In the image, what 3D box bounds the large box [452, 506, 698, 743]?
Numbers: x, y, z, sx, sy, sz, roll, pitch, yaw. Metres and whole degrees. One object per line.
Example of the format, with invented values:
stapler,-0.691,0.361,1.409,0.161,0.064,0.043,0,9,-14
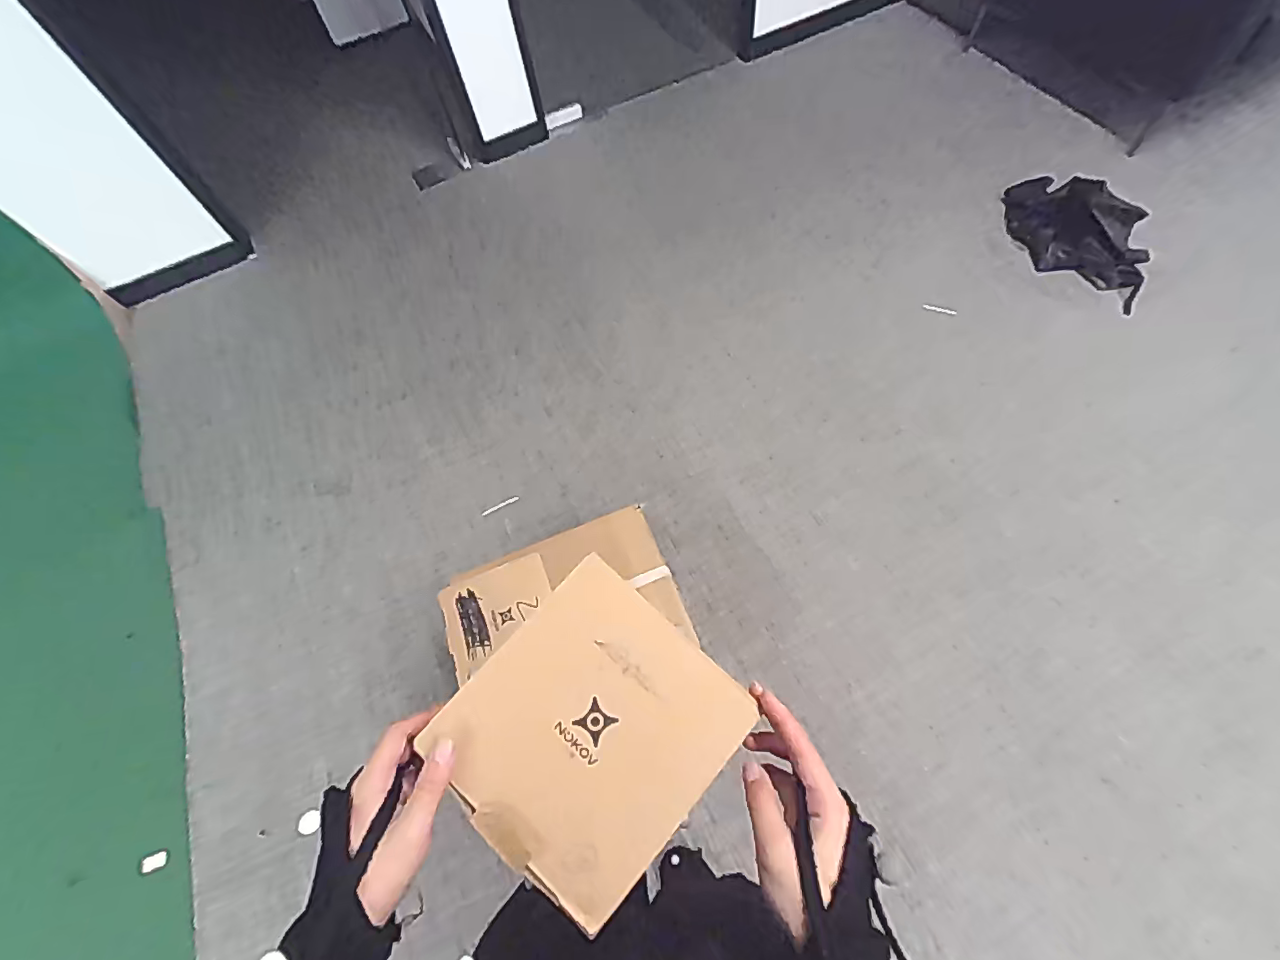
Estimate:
large box,-0.123,0.316,1.144,0.408,0.320,0.320,-21,64,-7
